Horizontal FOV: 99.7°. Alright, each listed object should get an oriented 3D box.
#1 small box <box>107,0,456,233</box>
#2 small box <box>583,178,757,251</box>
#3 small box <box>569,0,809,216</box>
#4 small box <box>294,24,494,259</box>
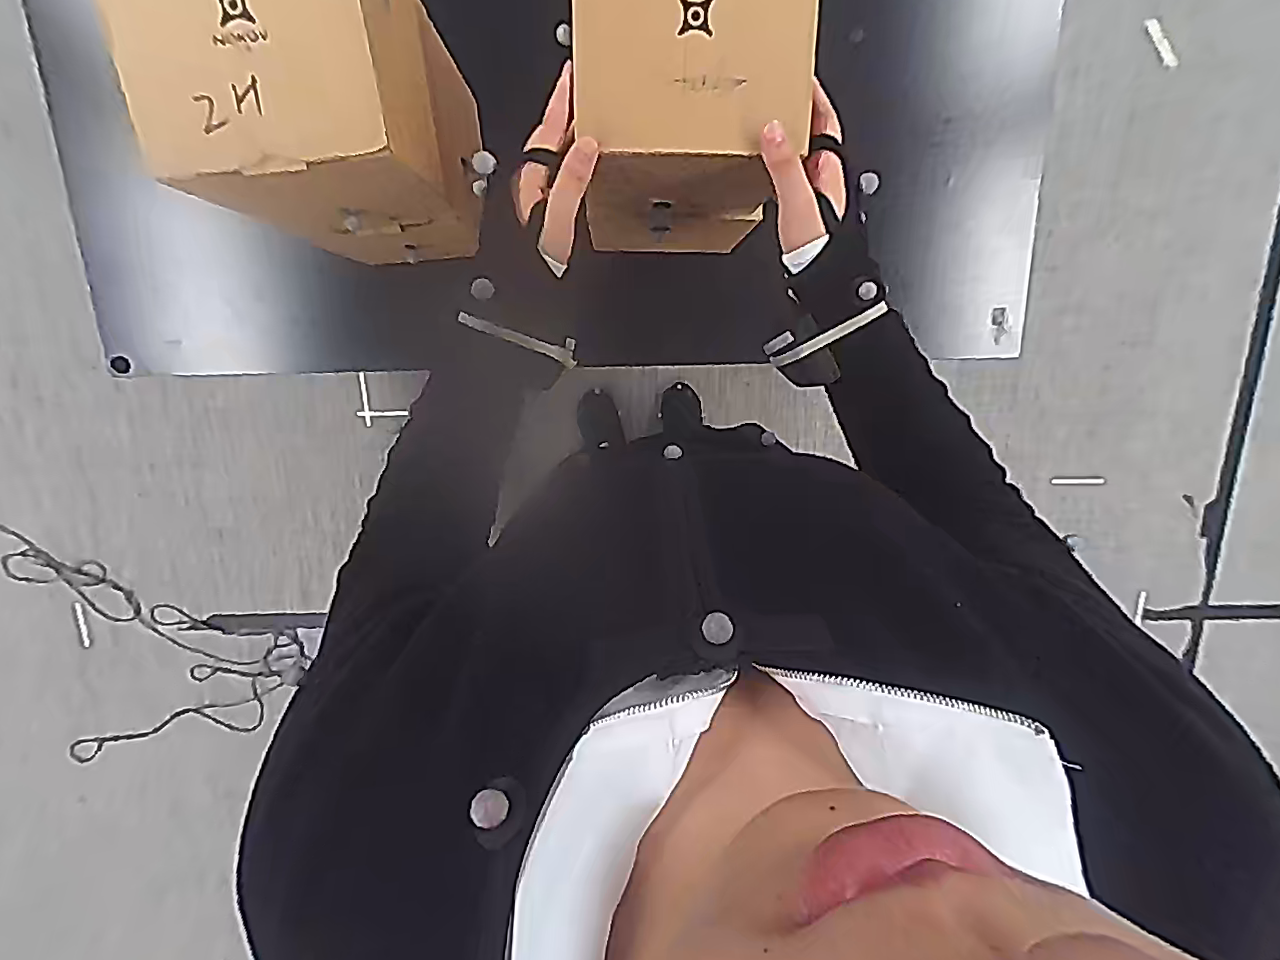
[{"bbox_3d":[-0.264,-0.317,0.433,0.168,0.176,0.179,-7,102,0],"label":"small box"},{"bbox_3d":[0.029,-0.359,0.602,0.179,0.176,0.168,0,102,-2],"label":"small box"},{"bbox_3d":[0.031,-0.333,0.442,0.168,0.176,0.179,0,103,-1],"label":"small box"},{"bbox_3d":[-0.269,-0.349,0.596,0.168,0.176,0.179,-6,103,-1],"label":"small box"}]
